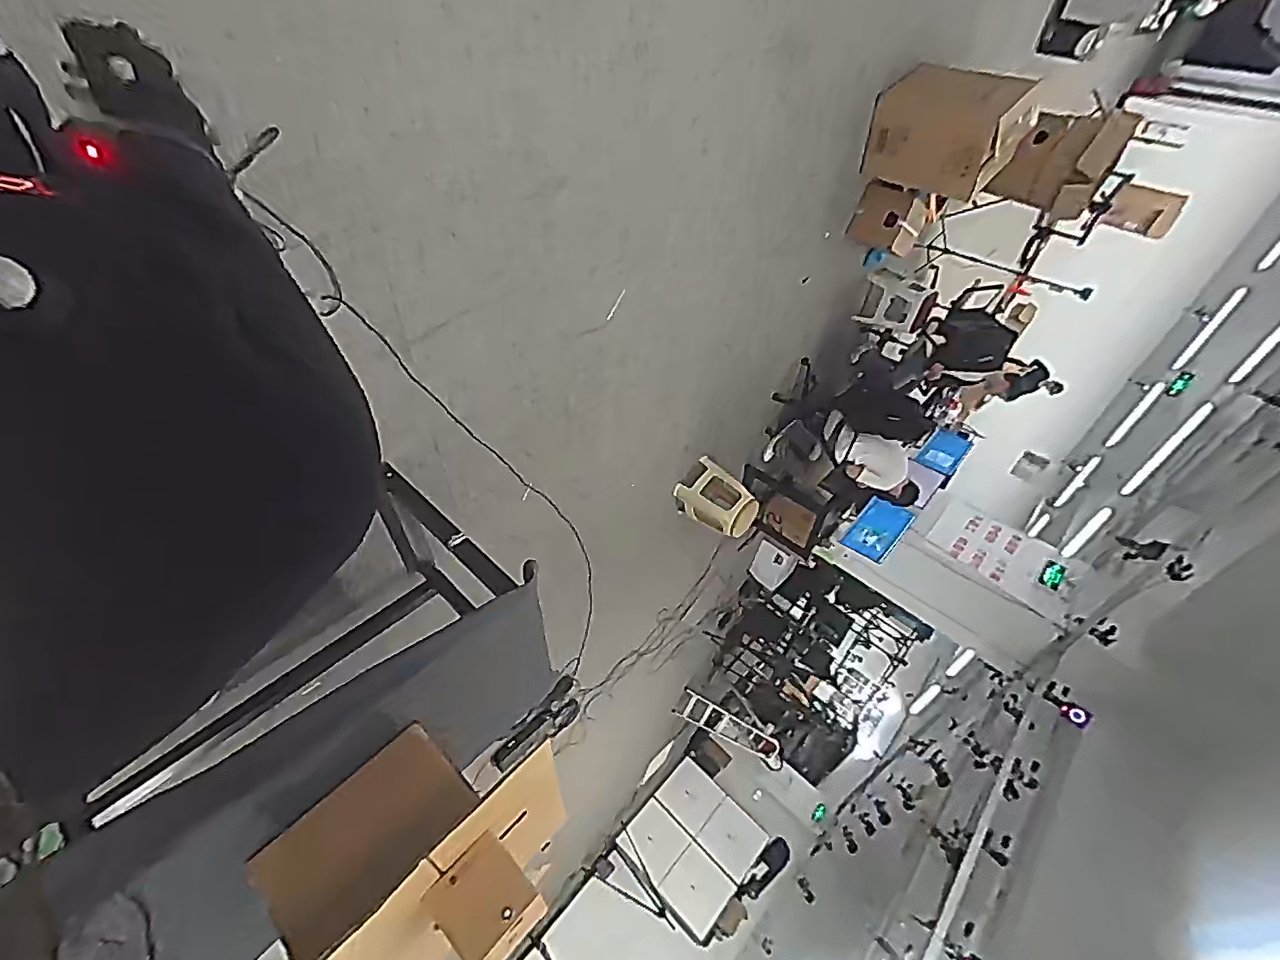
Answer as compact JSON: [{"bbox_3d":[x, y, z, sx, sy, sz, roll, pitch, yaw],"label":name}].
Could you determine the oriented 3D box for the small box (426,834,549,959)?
[{"bbox_3d":[-0.309,0.872,1.109,0.168,0.176,0.179,-37,146,-33],"label":"small box"}]
